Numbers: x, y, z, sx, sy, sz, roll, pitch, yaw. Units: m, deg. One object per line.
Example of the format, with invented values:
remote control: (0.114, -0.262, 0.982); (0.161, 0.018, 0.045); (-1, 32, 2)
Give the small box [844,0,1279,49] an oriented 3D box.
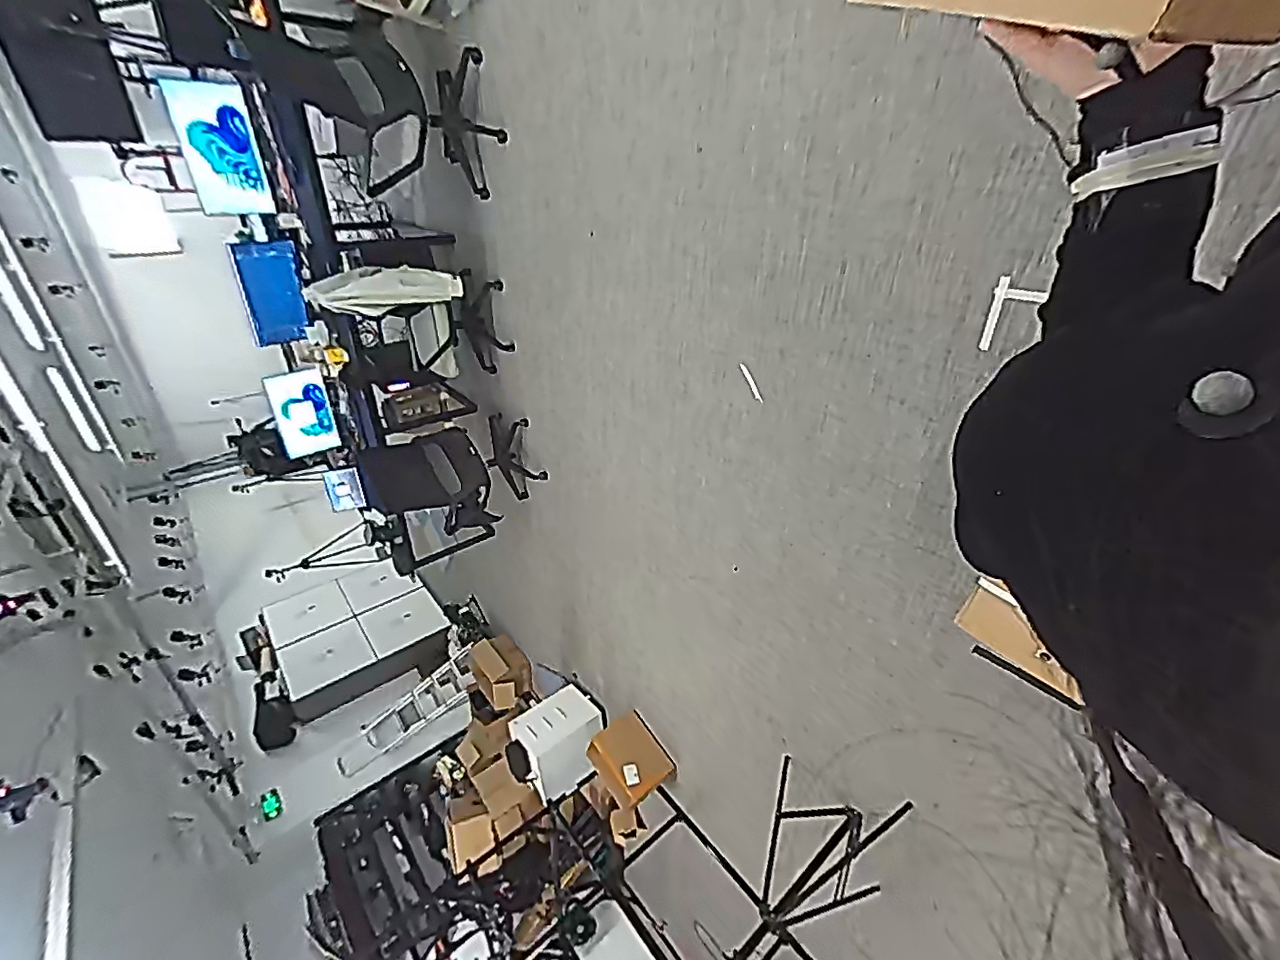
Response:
small box: (0.242, -0.322, 0.258); (0.179, 0.176, 0.168); (49, 148, 36)
